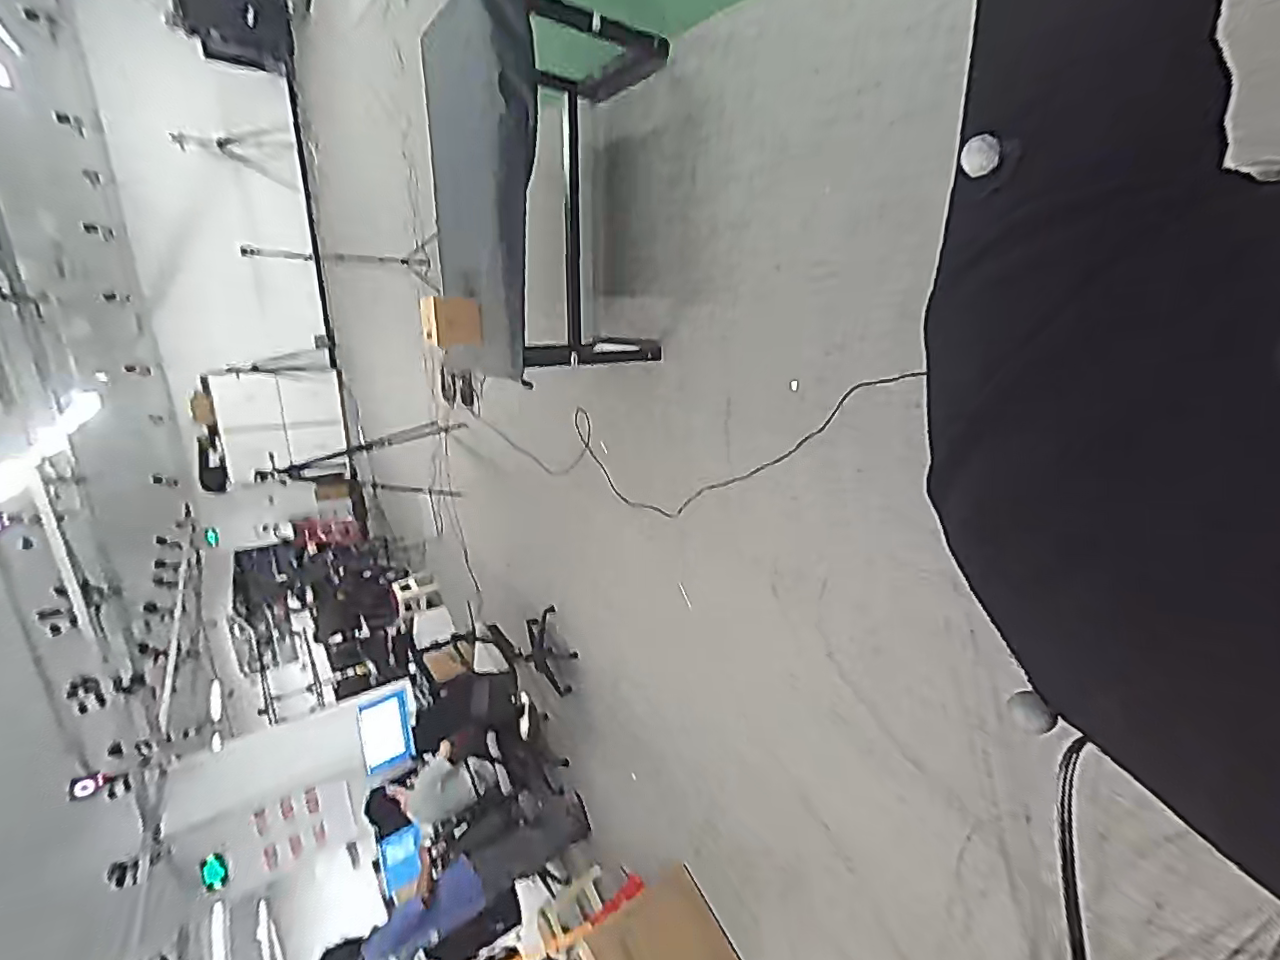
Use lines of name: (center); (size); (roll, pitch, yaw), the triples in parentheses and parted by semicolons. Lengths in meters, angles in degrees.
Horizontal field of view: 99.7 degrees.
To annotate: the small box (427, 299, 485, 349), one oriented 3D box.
small box: (-0.695, -0.590, 2.052); (0.168, 0.176, 0.179); (20, 114, 51)
